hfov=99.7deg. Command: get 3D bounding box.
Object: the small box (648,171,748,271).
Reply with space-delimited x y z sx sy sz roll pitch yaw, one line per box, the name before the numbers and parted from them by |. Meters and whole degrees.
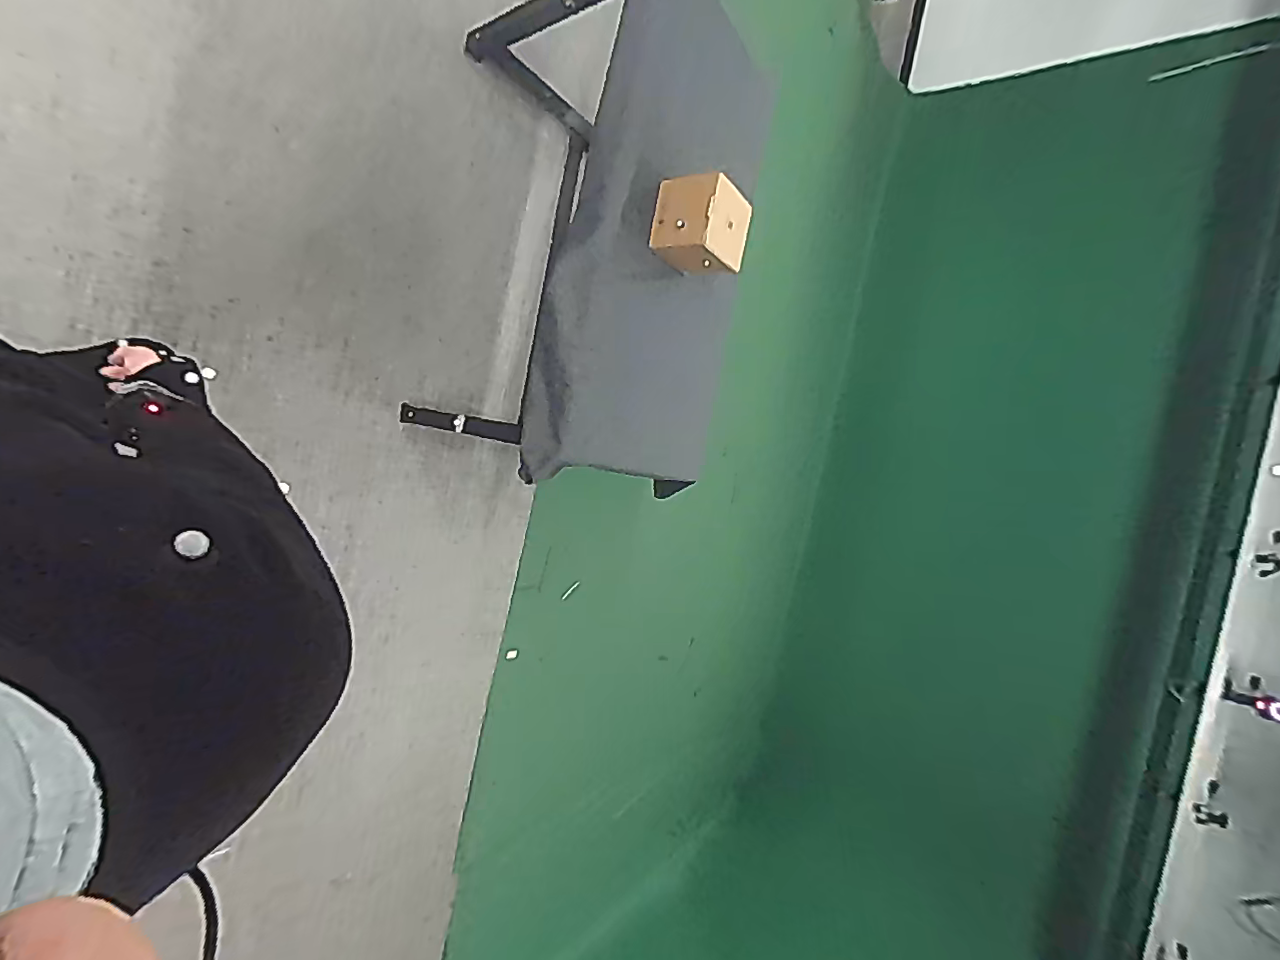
small box | 0.141 -0.627 1.337 0.179 0.176 0.168 7 96 -55
